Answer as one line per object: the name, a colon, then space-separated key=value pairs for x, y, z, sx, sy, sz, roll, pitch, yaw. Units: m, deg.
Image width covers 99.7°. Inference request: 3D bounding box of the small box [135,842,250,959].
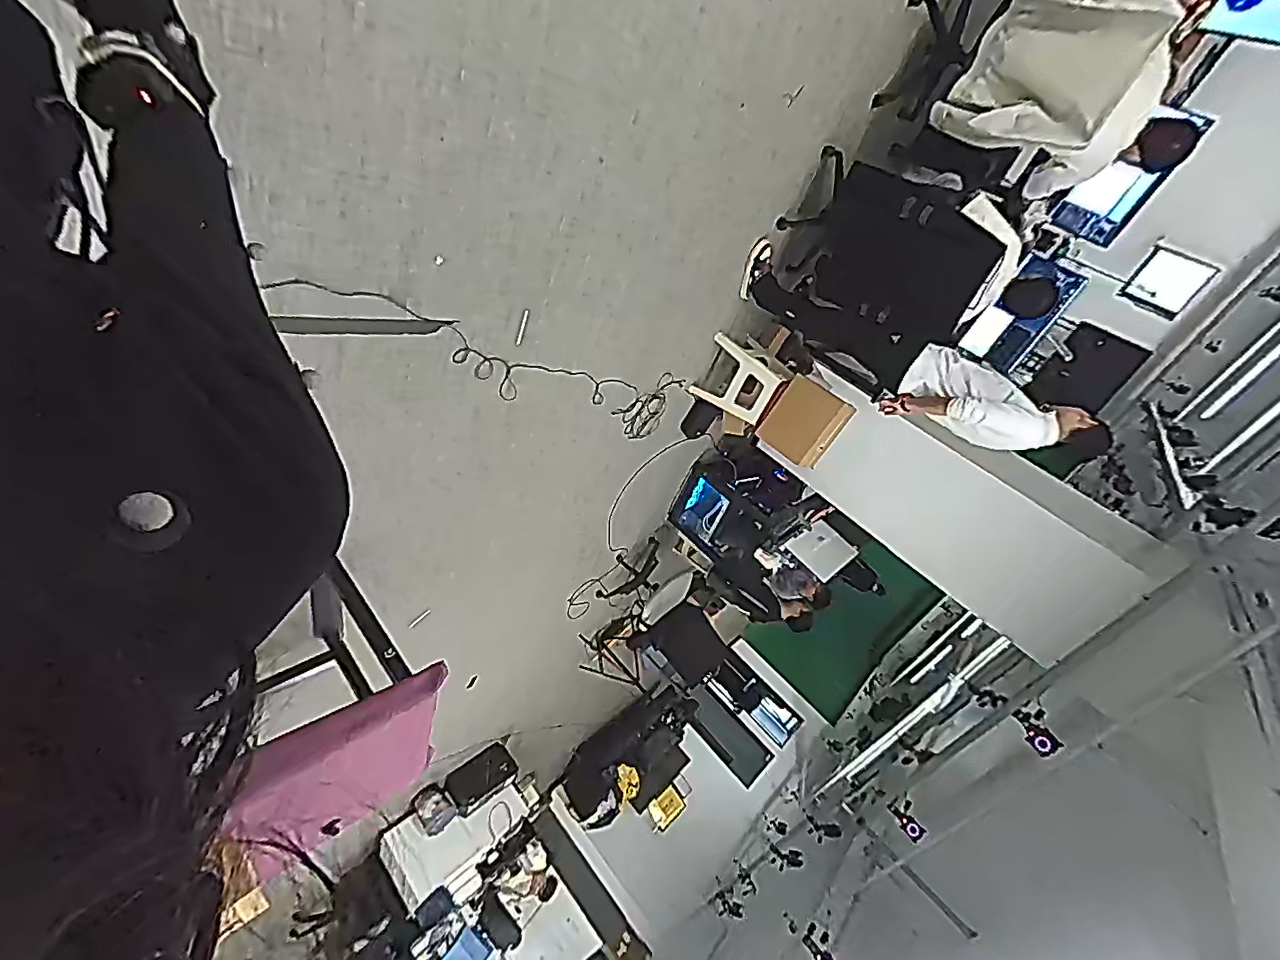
small box: x=-1.090 y=1.036 z=1.323 sx=0.168 sy=0.176 sz=0.179 roll=-23 pitch=145 yaw=-43
